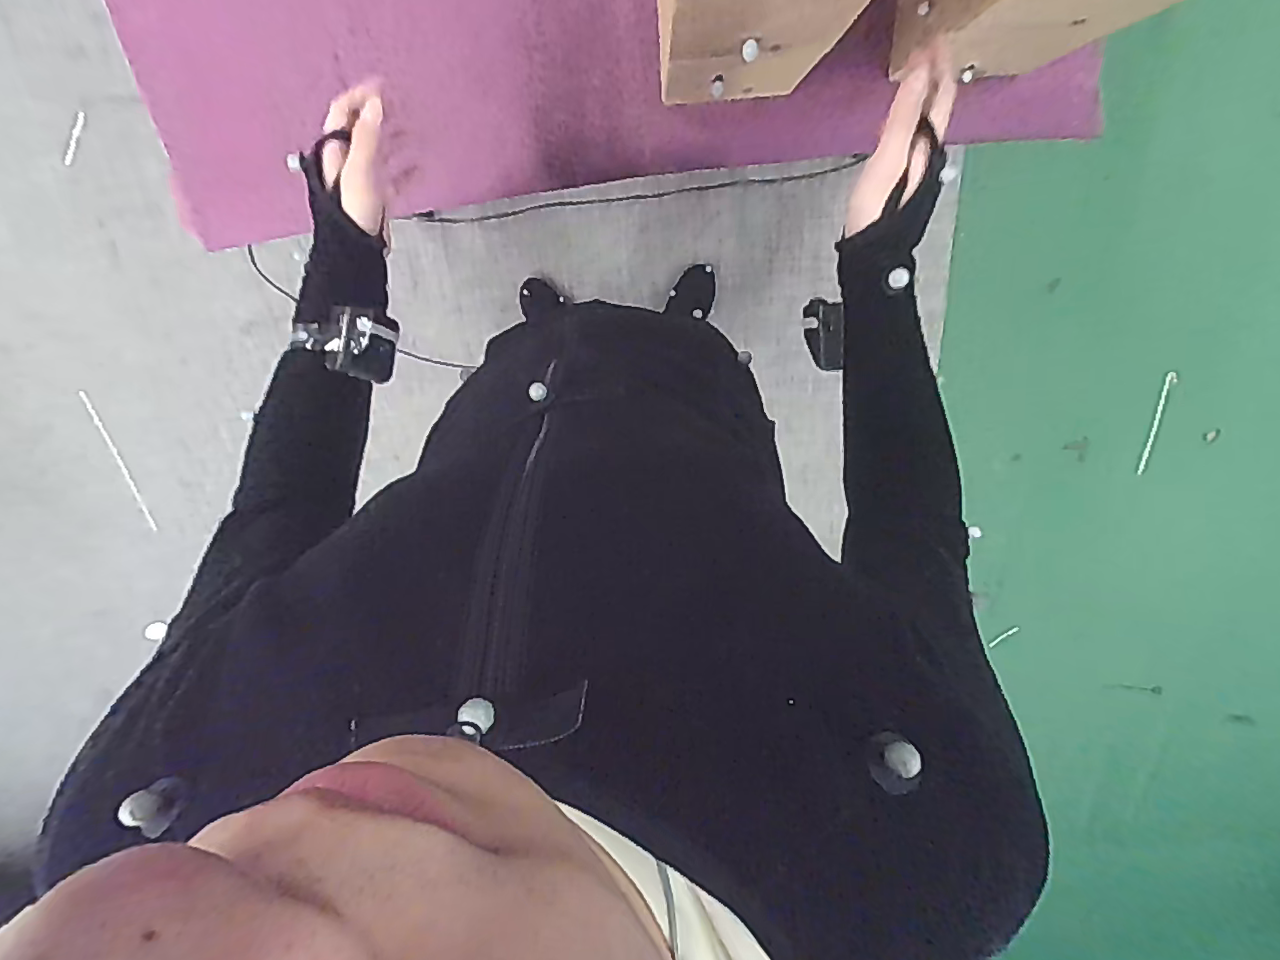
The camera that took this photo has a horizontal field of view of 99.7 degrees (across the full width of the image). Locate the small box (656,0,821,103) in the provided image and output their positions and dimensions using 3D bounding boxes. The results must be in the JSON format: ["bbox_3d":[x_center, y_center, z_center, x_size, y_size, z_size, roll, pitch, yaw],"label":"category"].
[{"bbox_3d":[0.101,-0.532,0.588,0.168,0.176,0.179,-3,112,3],"label":"small box"}]

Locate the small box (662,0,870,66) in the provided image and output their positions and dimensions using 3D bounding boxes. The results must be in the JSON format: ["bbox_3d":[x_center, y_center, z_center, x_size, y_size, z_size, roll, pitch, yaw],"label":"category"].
[{"bbox_3d":[0.099,-0.471,0.435,0.168,0.176,0.179,-3,112,3],"label":"small box"}]

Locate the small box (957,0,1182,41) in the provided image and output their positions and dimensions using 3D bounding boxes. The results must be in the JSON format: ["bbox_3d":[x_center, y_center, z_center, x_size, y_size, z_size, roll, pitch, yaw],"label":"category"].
[{"bbox_3d":[0.381,-0.483,0.422,0.168,0.176,0.179,-1,112,3],"label":"small box"}]
